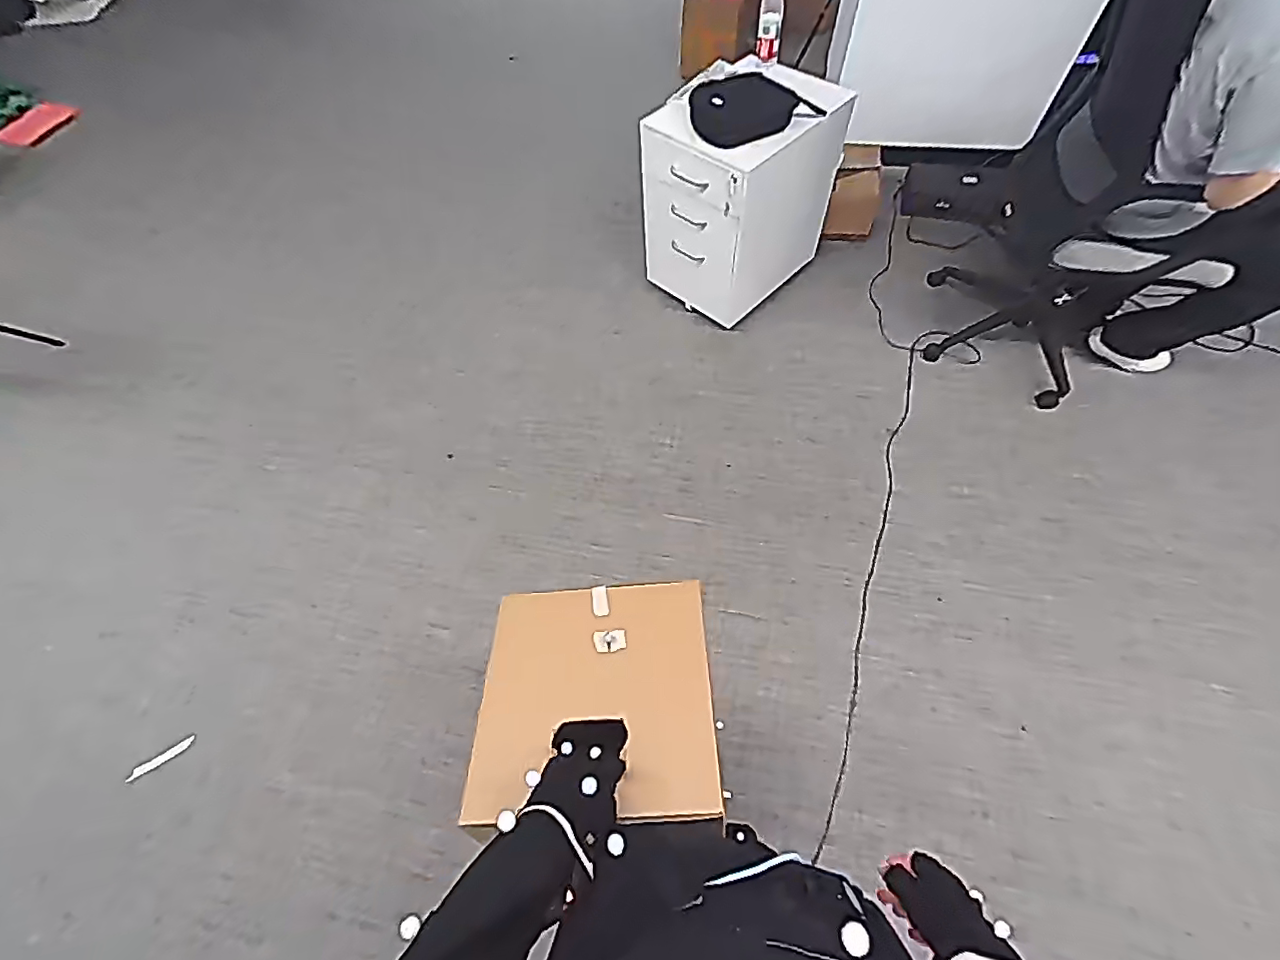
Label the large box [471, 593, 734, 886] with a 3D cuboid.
[{"bbox_3d":[-0.029,0.425,0.866,0.320,0.408,0.320,-5,47,5],"label":"large box"}]
